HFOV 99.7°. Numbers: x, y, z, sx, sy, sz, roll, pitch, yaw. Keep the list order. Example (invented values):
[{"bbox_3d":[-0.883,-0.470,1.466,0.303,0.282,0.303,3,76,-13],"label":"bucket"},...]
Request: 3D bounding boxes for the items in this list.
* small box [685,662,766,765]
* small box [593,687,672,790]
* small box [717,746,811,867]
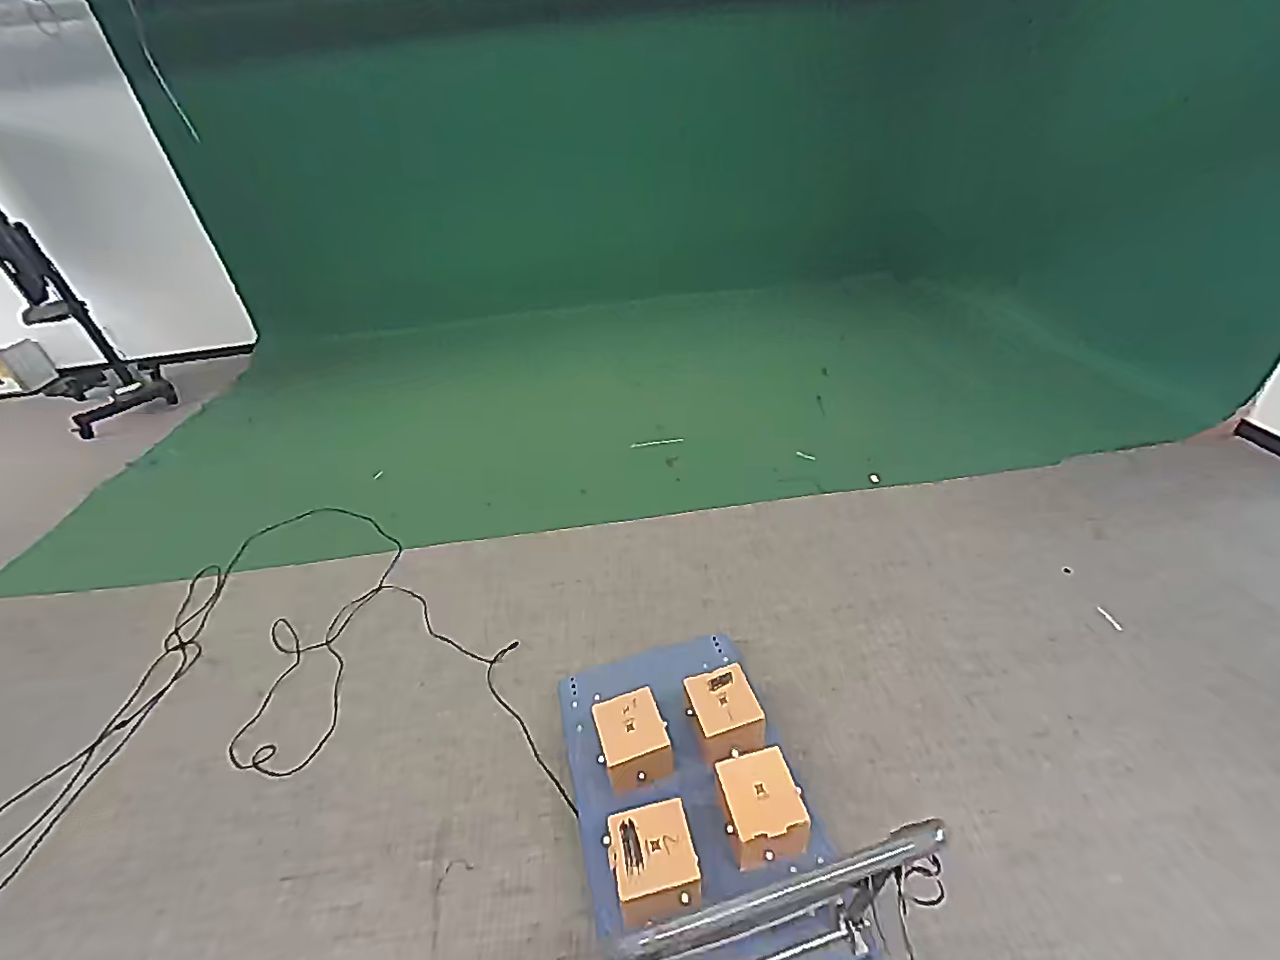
[{"bbox_3d":[0.230,0.640,1.481,0.168,0.176,0.179,-15,38,-10],"label":"small box"},{"bbox_3d":[-0.018,0.695,1.445,0.168,0.176,0.179,-14,37,-12],"label":"small box"},{"bbox_3d":[0.286,0.778,1.291,0.168,0.176,0.179,-12,37,-7],"label":"small box"}]
